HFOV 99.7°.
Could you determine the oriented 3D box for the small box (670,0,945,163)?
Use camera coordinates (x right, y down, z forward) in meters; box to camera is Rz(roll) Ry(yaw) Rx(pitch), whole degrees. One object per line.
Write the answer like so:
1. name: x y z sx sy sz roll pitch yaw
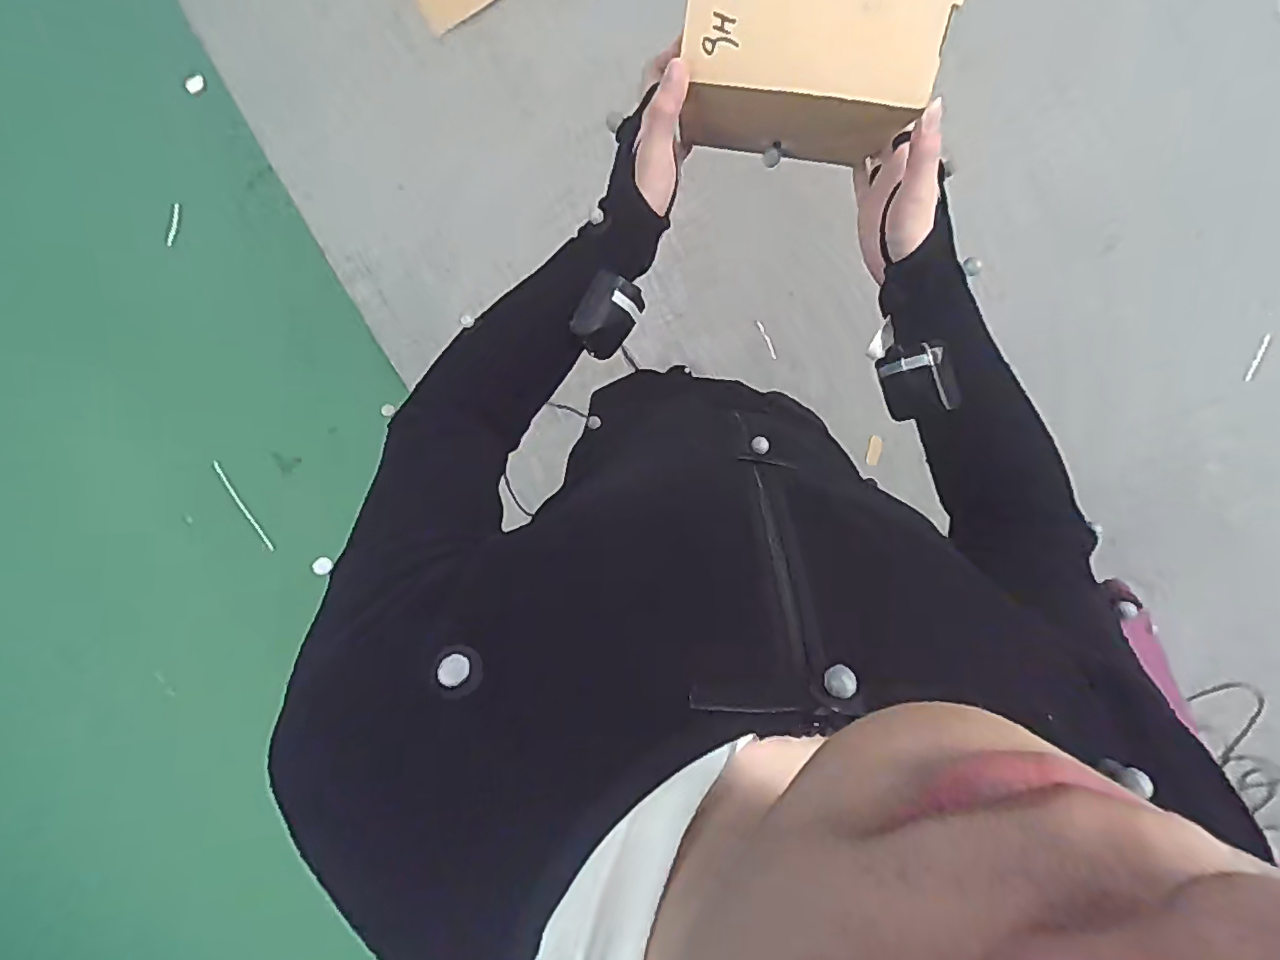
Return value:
1. small box: 0.121 -0.366 0.425 0.179 0.176 0.168 8 108 1
